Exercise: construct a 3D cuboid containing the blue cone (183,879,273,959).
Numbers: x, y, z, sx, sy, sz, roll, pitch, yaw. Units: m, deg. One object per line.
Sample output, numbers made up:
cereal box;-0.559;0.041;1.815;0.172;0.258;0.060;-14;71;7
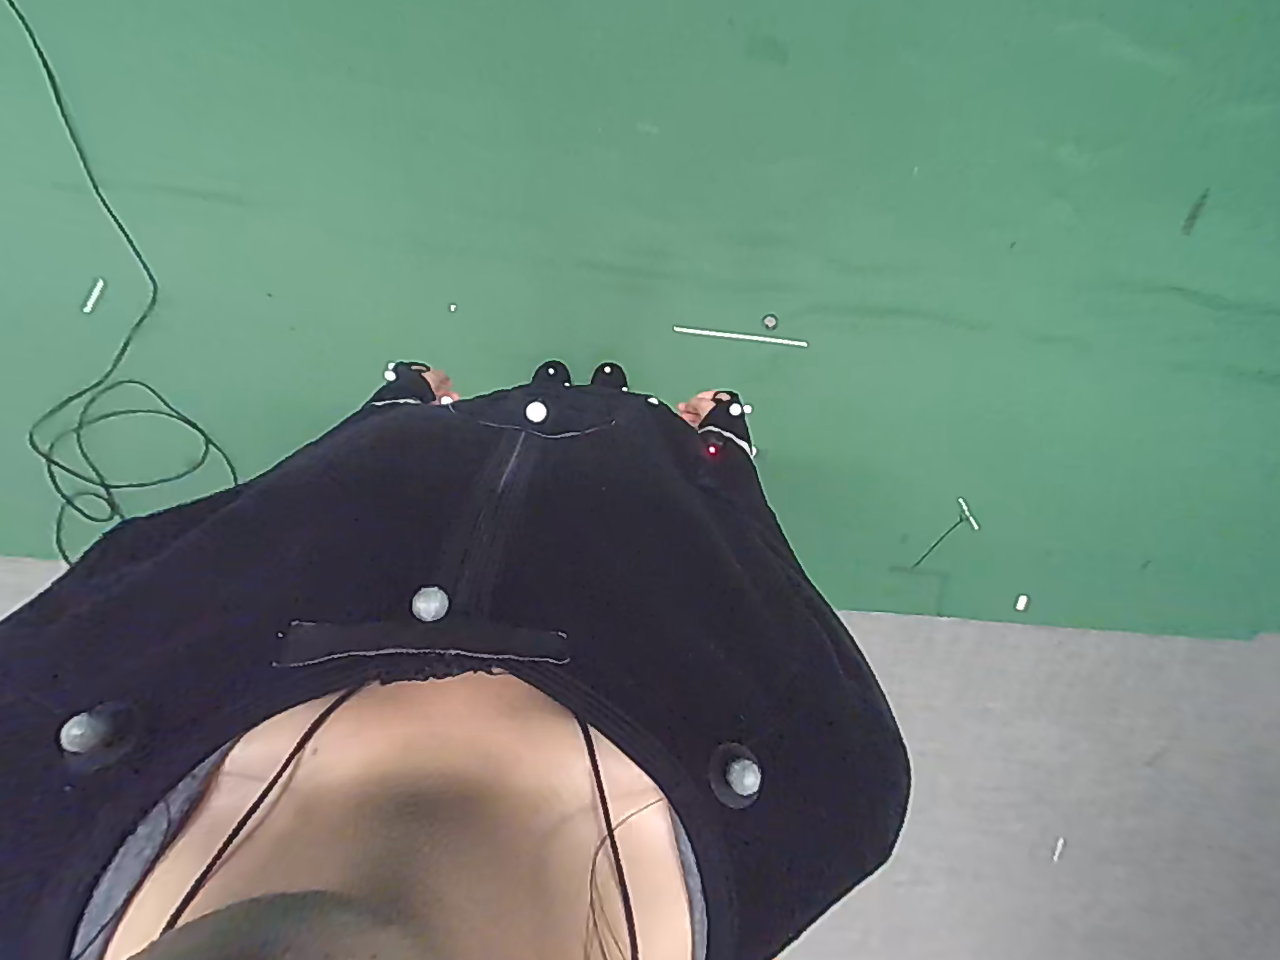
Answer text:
blue cone;-1.248;1.381;1.523;0.193;0.380;0.192;-38;105;5
